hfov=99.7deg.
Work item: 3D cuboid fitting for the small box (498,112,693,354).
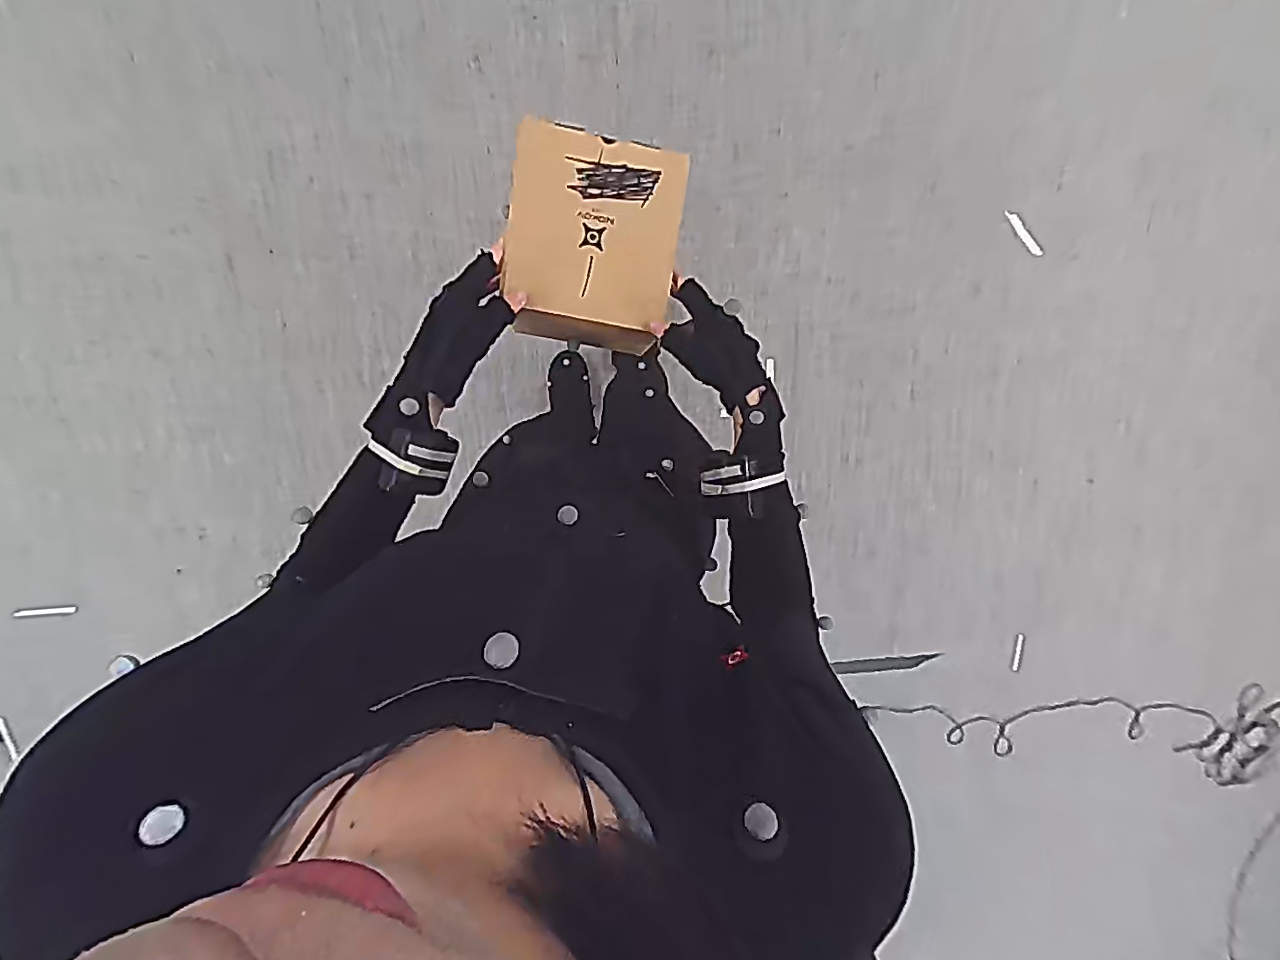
[{"bbox_3d":[-0.052,-0.248,0.592,0.168,0.176,0.179,9,94,-8],"label":"small box"}]
